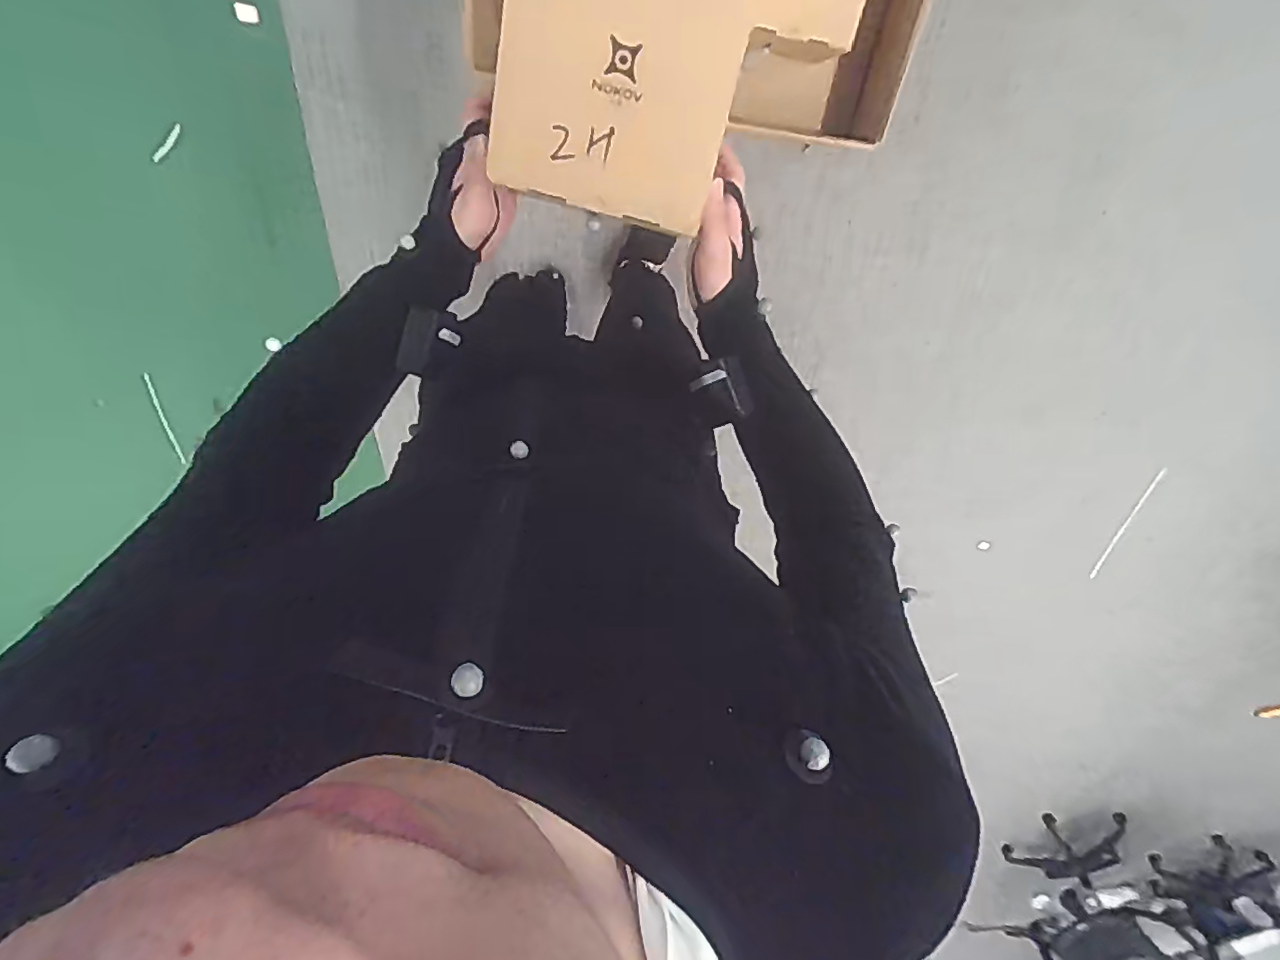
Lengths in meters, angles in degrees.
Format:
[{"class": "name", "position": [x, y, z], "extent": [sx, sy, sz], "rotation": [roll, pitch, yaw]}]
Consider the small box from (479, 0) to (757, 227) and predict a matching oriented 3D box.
[{"class": "small box", "position": [-0.020, -0.318, 0.435], "extent": [0.168, 0.176, 0.179], "rotation": [12, 113, -8]}]

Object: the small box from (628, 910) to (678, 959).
[{"class": "small box", "position": [0.042, 1.596, 1.841], "extent": [0.168, 0.176, 0.179], "rotation": [0, 124, 2]}]

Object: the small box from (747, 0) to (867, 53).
[{"class": "small box", "position": [0.216, -0.699, 0.719], "extent": [0.168, 0.176, 0.179], "rotation": [9, 124, -5]}]
